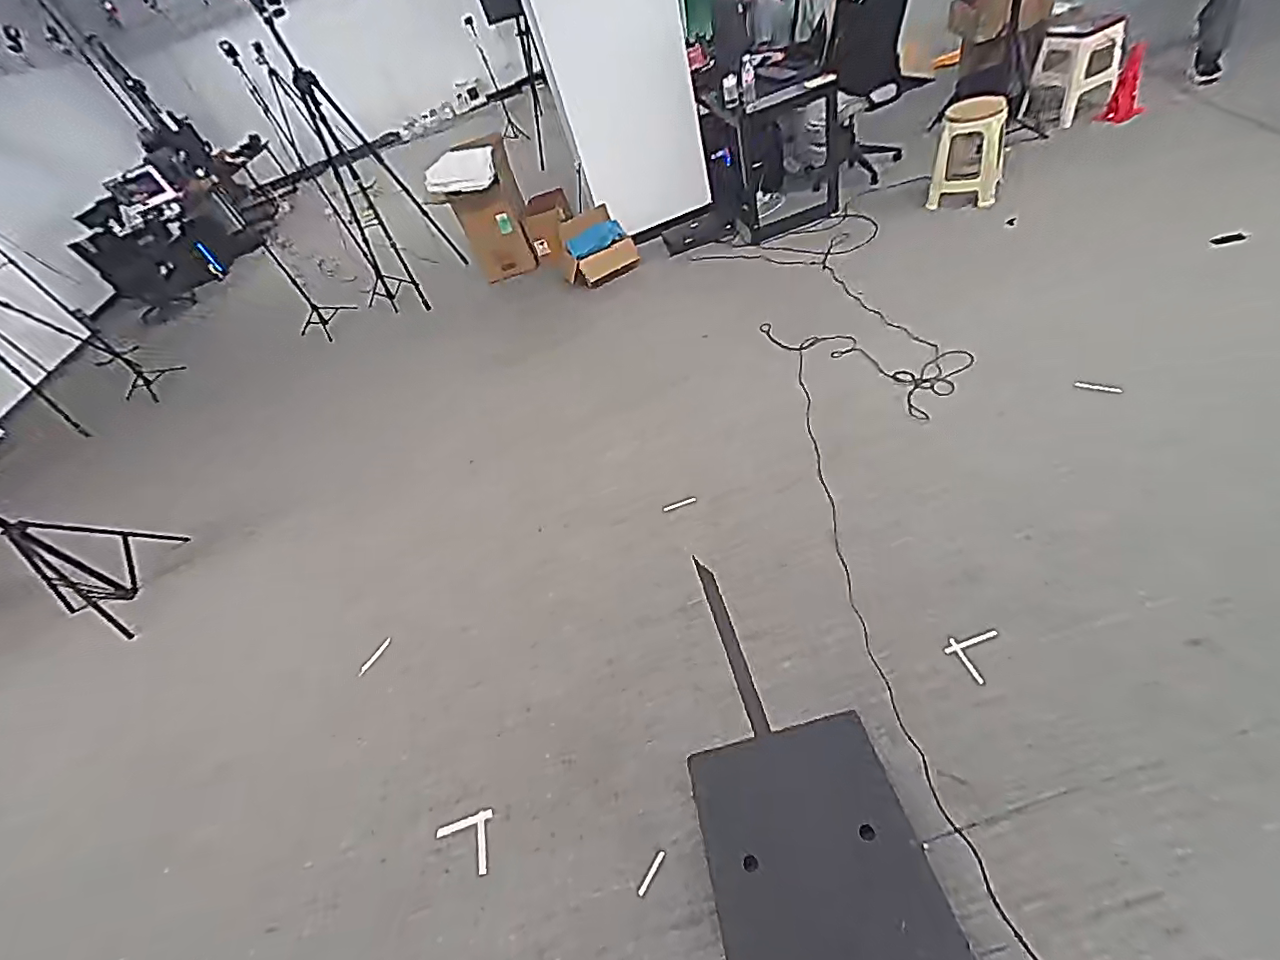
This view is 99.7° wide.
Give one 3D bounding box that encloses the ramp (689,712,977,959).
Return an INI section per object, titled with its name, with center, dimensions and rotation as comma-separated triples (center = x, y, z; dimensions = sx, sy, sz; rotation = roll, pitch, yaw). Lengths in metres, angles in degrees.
[ramp]
center = 0.423, 0.993, 1.109
dimensions = 0.509, 0.206, 0.991
rotation = -20, 44, 4
